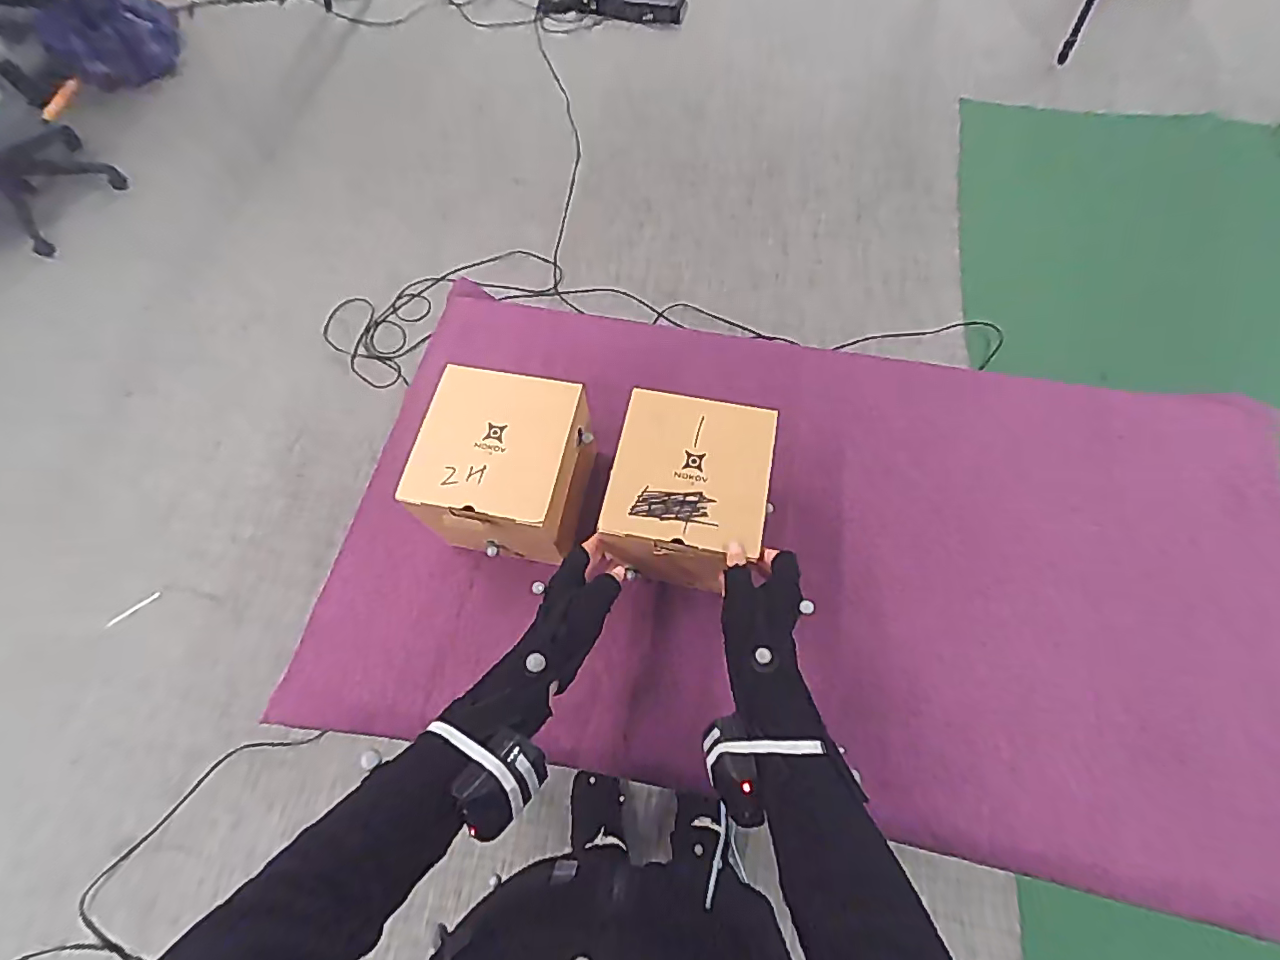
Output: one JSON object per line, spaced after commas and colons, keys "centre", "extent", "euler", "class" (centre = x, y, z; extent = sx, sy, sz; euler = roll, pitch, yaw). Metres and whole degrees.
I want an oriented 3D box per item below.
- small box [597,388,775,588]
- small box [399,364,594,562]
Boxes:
{"centre": [0.056, 0.019, 0.648], "extent": [0.168, 0.176, 0.179], "euler": [11, 67, 7], "class": "small box"}
{"centre": [-0.158, -0.014, 0.669], "extent": [0.168, 0.176, 0.179], "euler": [10, 68, 7], "class": "small box"}
